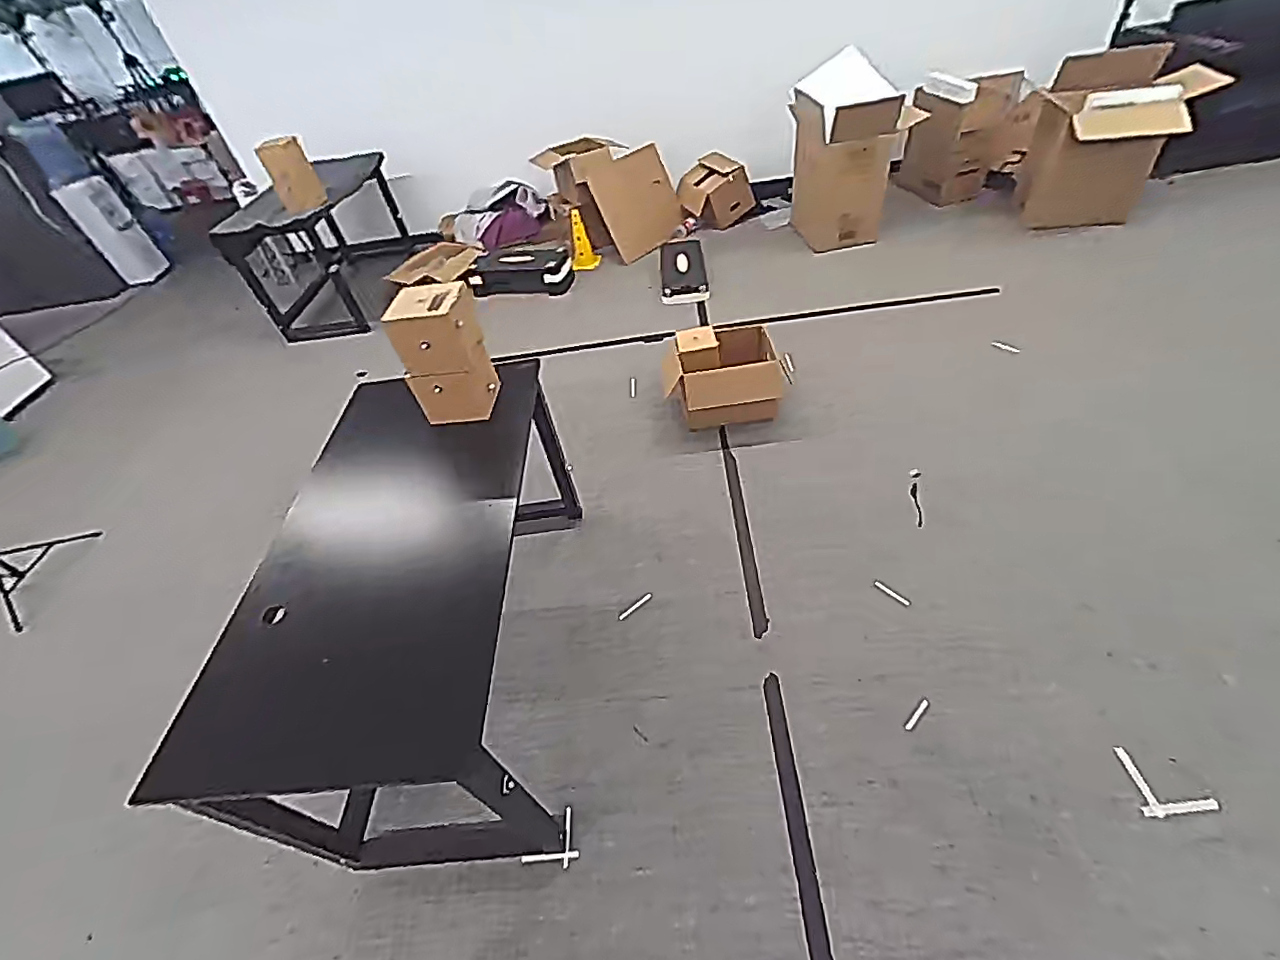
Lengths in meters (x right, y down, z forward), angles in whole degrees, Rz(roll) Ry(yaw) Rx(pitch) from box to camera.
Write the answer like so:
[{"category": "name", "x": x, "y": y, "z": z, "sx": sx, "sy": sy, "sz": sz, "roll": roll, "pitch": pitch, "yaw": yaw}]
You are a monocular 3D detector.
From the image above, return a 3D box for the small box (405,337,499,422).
[{"category": "small box", "x": -0.521, "y": -0.279, "z": 1.526, "sx": 0.179, "sy": 0.176, "sz": 0.168, "roll": -4, "pitch": 47, "yaw": 8}]
